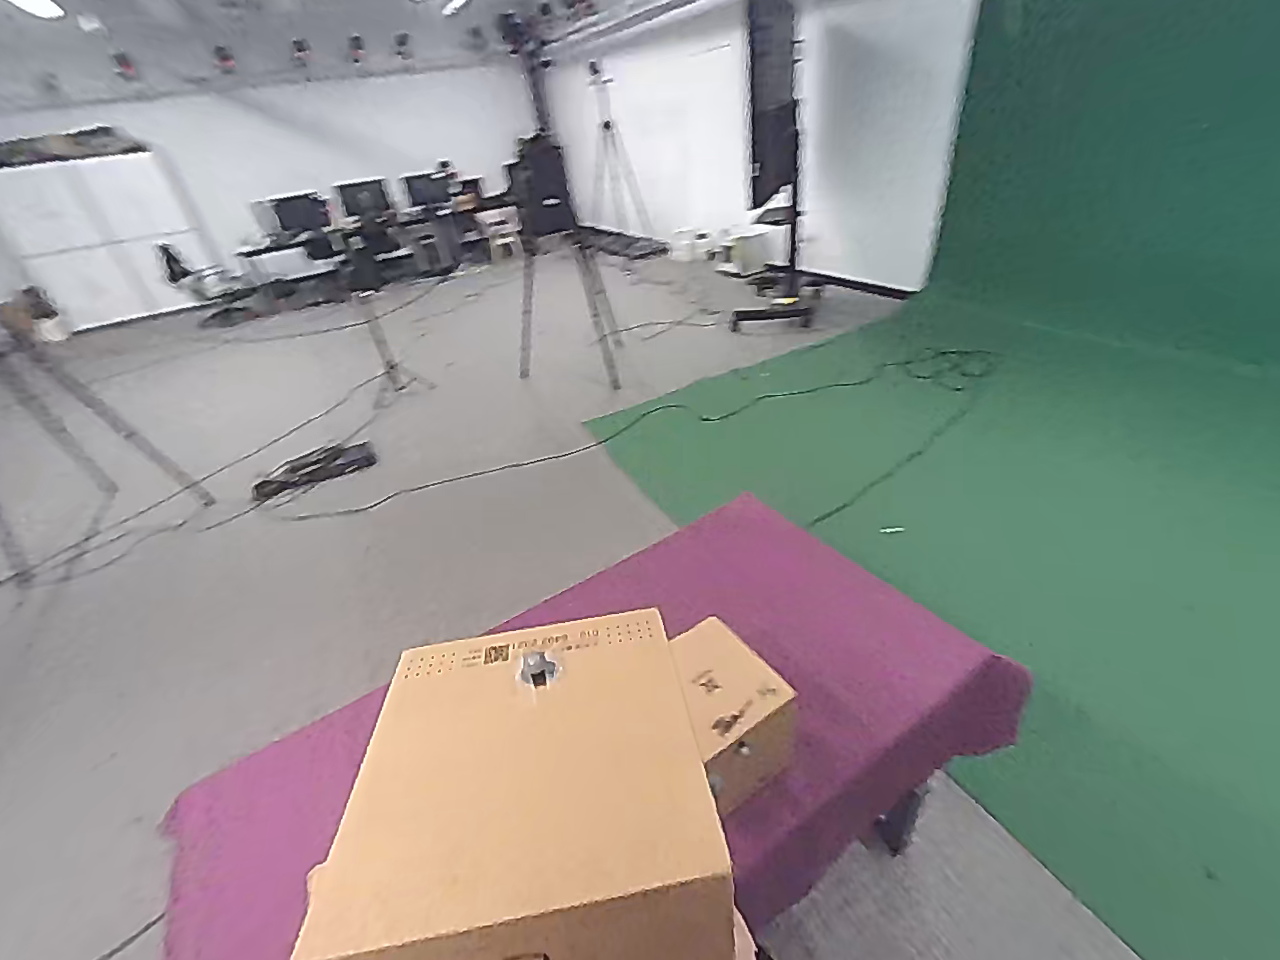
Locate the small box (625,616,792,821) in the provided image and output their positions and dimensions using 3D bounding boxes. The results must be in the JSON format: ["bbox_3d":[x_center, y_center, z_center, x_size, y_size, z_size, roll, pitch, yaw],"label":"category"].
[{"bbox_3d":[0.098,0.342,0.788,0.168,0.176,0.179,-26,37,-22],"label":"small box"}]
